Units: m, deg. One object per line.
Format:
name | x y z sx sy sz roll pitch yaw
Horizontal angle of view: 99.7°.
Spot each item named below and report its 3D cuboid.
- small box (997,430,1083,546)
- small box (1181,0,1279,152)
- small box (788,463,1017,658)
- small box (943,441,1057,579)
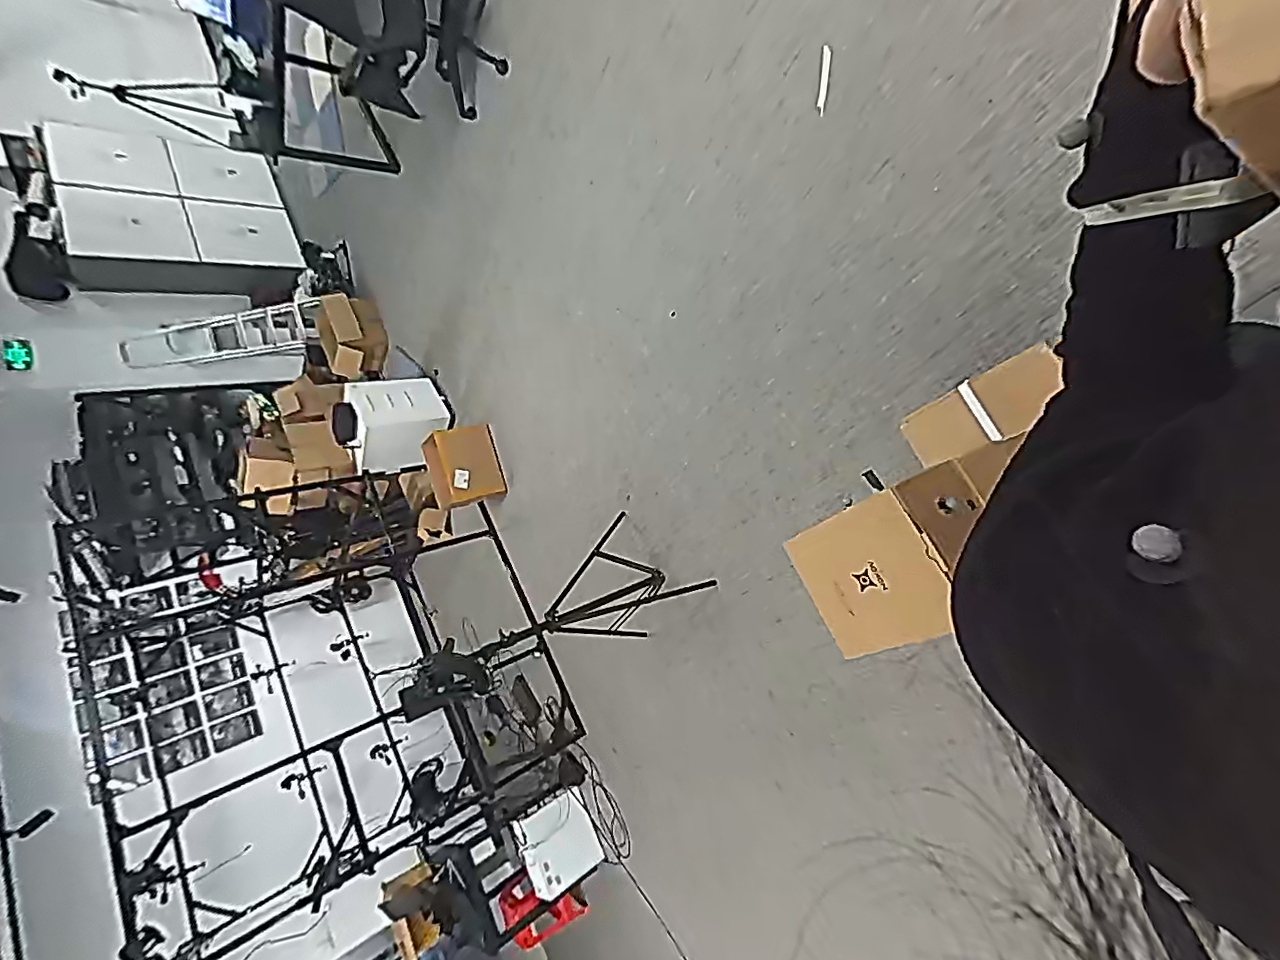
small box | 0.576 0.033 0.879 0.179 0.176 0.168 -39 71 48
small box | 0.251 -0.193 0.111 0.179 0.176 0.168 -3 94 56
small box | 0.330 0.096 0.676 0.179 0.176 0.168 -44 67 49
small box | 0.455 0.061 0.774 0.179 0.176 0.168 -43 69 48
